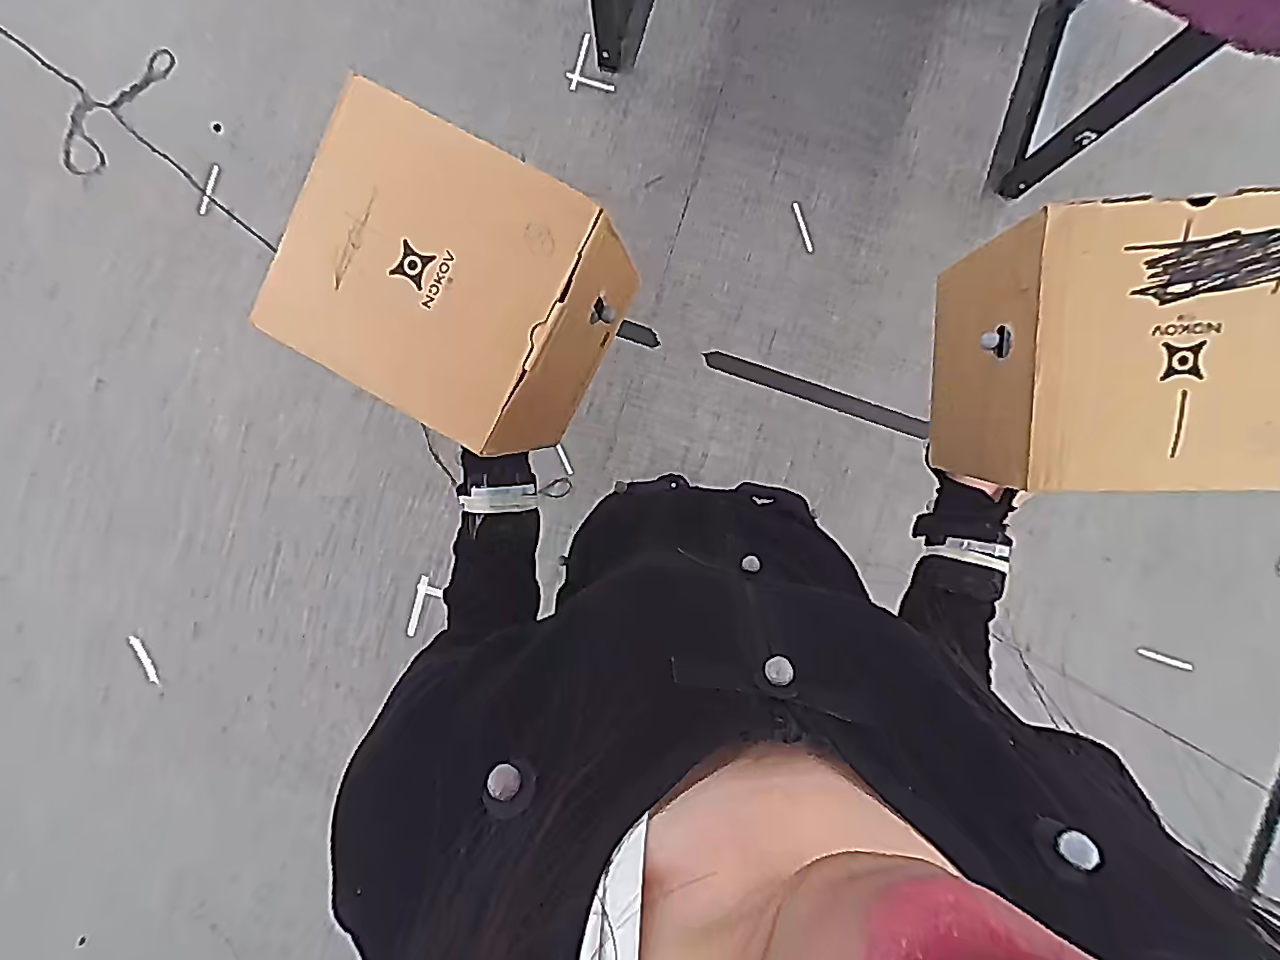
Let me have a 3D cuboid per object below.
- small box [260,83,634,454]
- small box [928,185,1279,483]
[{"bbox_3d":[-0.120,-0.135,0.407,0.179,0.176,0.168,29,98,4],"label":"small box"},{"bbox_3d":[0.335,-0.093,0.405,0.168,0.176,0.179,0,97,8],"label":"small box"}]
